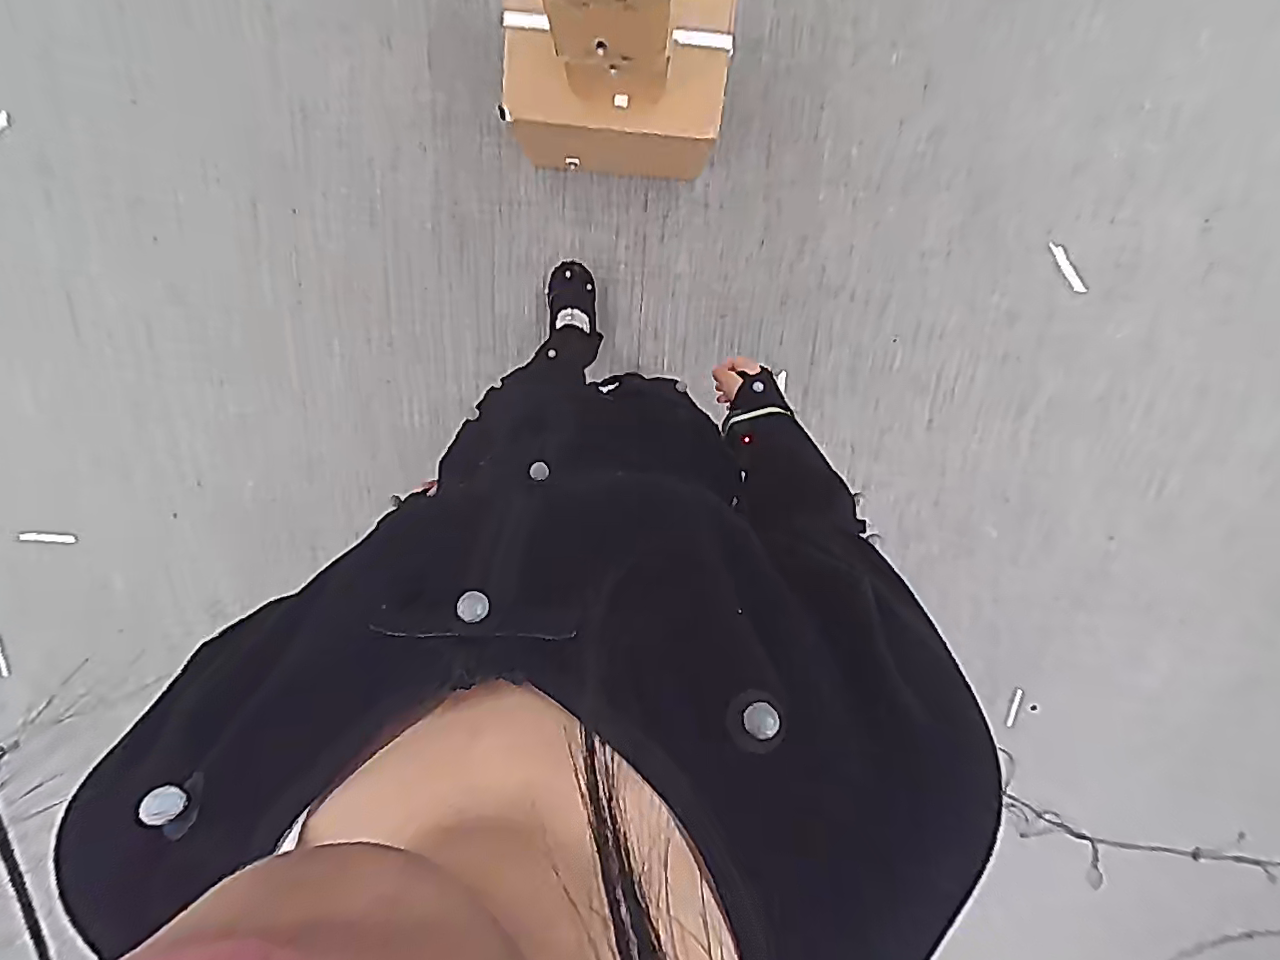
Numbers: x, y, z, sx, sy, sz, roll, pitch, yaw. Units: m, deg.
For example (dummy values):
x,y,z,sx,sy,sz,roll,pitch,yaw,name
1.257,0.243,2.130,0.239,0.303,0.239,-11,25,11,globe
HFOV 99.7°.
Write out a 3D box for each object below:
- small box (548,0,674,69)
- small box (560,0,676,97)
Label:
x,y,z,sx,sy,sz,roll,pitch,yaw,name
-0.036,-0.703,0.735,0.168,0.176,0.179,3,108,-2,small box
-0.034,-0.757,0.888,0.179,0.176,0.168,2,107,-2,small box
